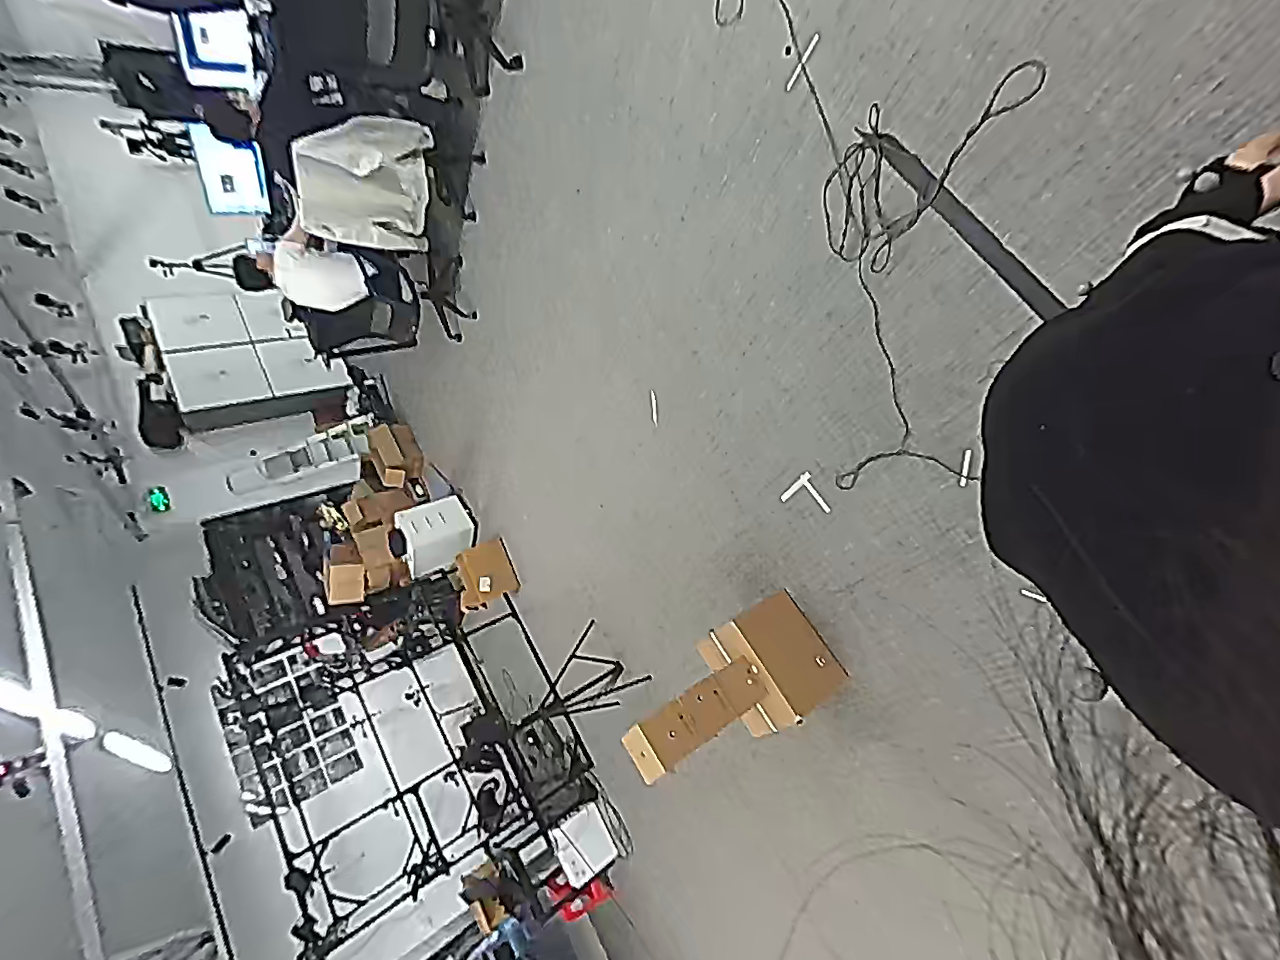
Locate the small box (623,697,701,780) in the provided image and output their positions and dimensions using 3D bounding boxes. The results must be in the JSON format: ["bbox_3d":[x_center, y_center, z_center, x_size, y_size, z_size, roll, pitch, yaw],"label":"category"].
[{"bbox_3d":[0.076,0.844,1.779,0.168,0.176,0.179,54,142,24],"label":"small box"}]

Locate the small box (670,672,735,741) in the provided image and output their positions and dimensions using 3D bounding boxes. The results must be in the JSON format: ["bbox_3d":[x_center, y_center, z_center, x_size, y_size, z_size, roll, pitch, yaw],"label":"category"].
[{"bbox_3d":[0.203,0.793,1.871,0.168,0.176,0.179,56,144,21],"label":"small box"}]

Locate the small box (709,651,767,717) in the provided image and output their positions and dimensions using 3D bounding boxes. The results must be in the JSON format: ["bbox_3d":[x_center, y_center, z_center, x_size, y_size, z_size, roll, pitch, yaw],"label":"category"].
[{"bbox_3d":[0.328,0.753,1.966,0.168,0.176,0.179,56,142,19],"label":"small box"}]
